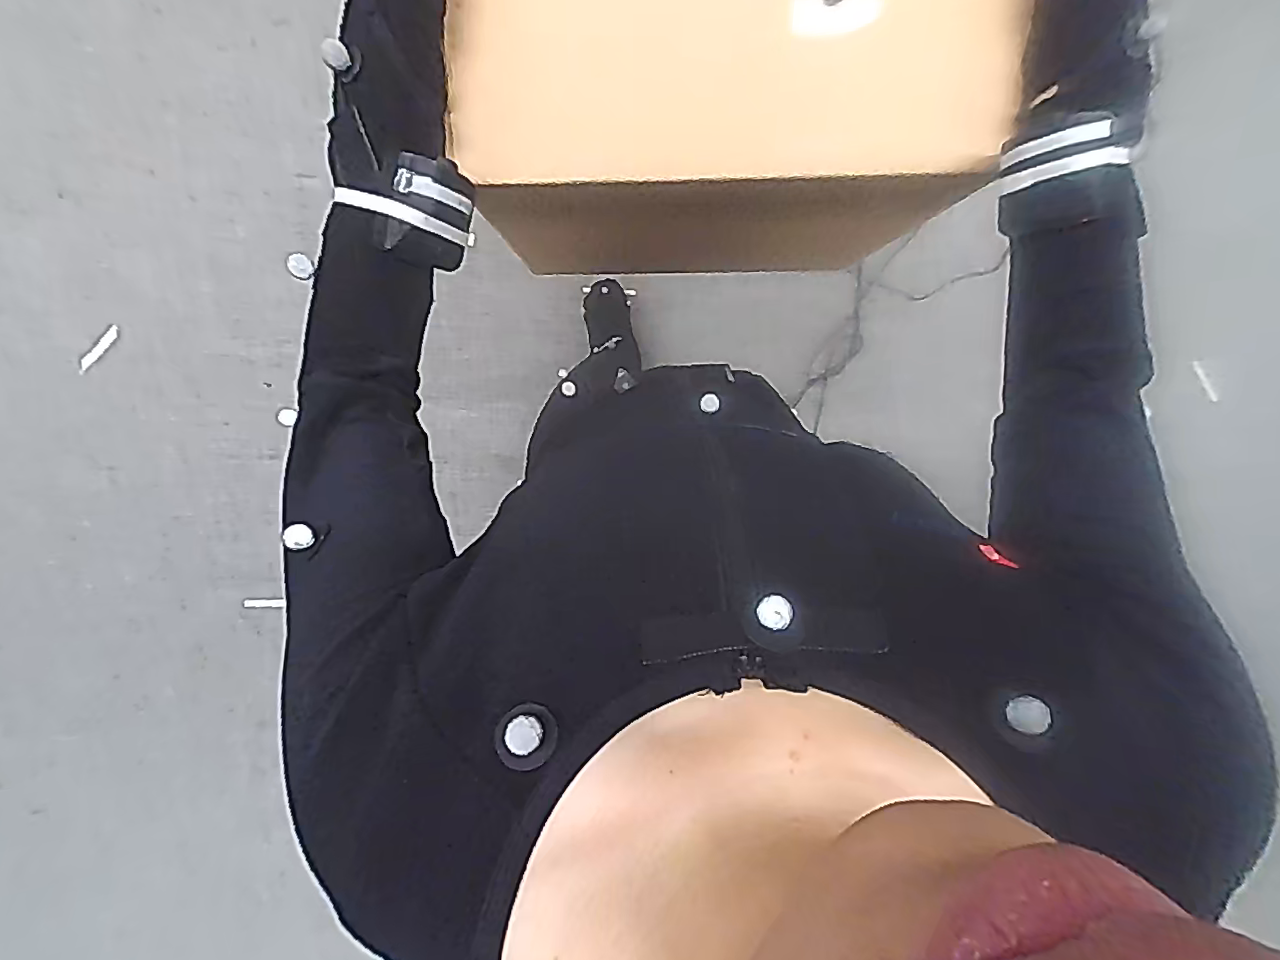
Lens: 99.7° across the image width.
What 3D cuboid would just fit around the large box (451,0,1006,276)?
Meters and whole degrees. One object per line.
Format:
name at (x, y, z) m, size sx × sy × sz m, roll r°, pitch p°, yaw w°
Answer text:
large box at (0.059, -0.400, 0.527) m, size 0.408 × 0.320 × 0.320 m, roll -2°, pitch 99°, yaw 0°
